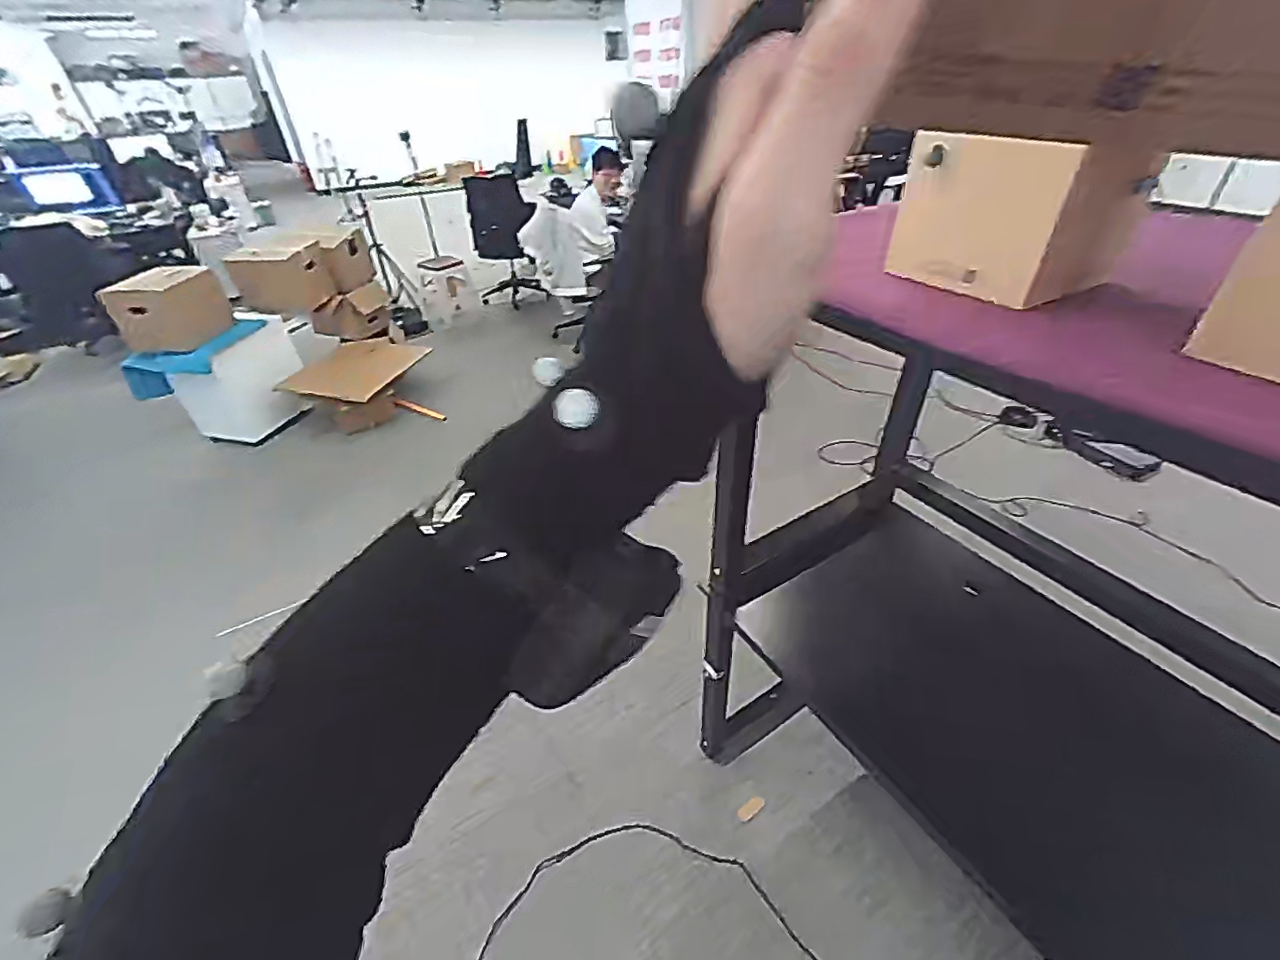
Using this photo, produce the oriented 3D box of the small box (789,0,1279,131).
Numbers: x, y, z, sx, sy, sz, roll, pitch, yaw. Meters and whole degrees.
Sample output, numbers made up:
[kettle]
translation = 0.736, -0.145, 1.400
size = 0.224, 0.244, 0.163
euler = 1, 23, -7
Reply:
[small box]
translation = 0.146, -0.235, 0.150
size = 0.168, 0.176, 0.179
euler = 15, 70, 12
